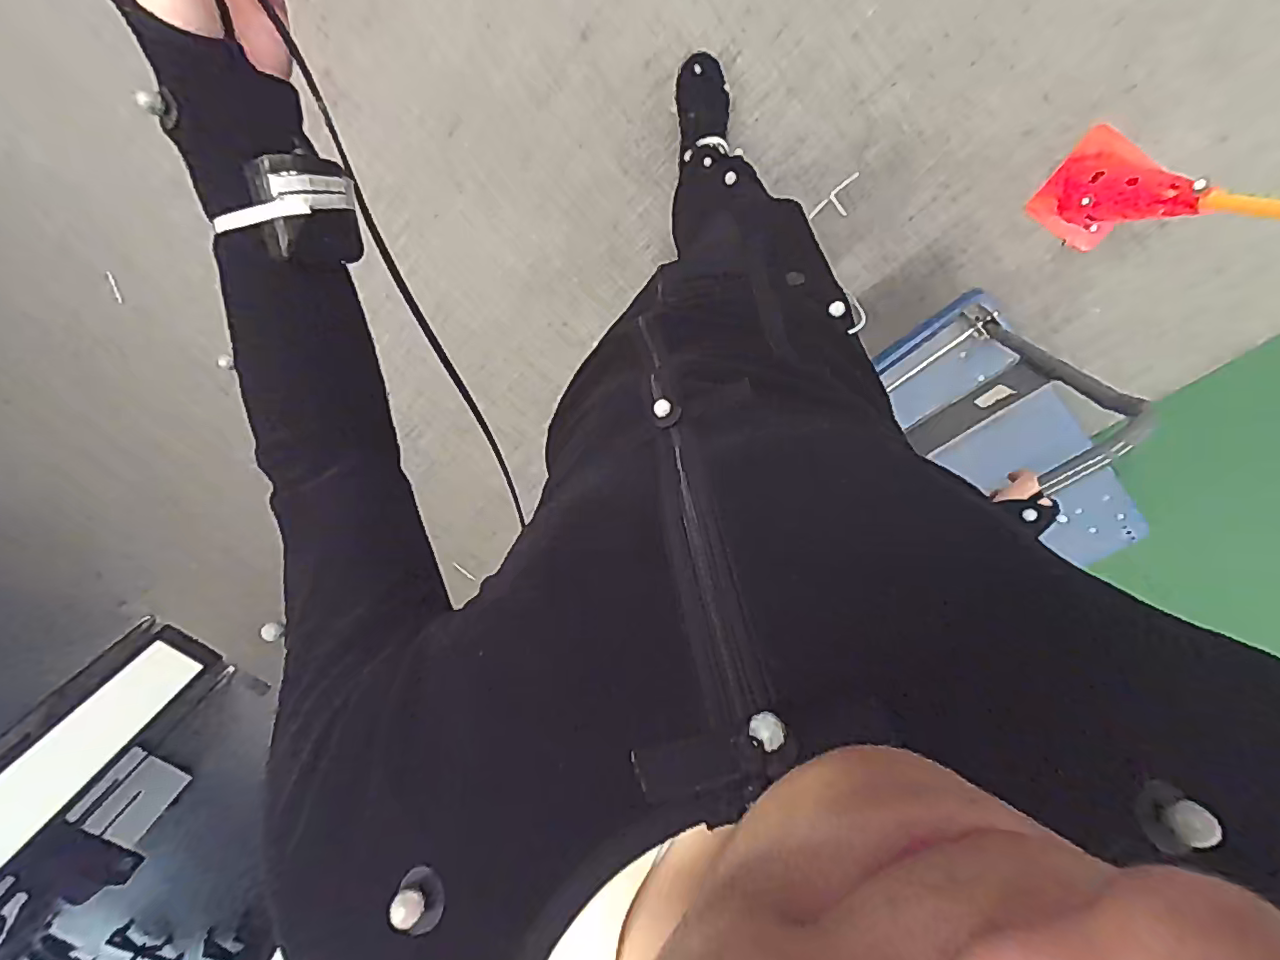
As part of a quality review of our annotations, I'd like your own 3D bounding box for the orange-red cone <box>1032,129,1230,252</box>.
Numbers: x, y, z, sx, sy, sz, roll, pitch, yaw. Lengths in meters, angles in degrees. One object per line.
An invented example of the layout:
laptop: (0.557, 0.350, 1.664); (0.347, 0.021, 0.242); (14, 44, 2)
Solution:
orange-red cone: (1.005, -0.562, 1.071); (0.198, 0.360, 0.199); (30, 119, -10)
